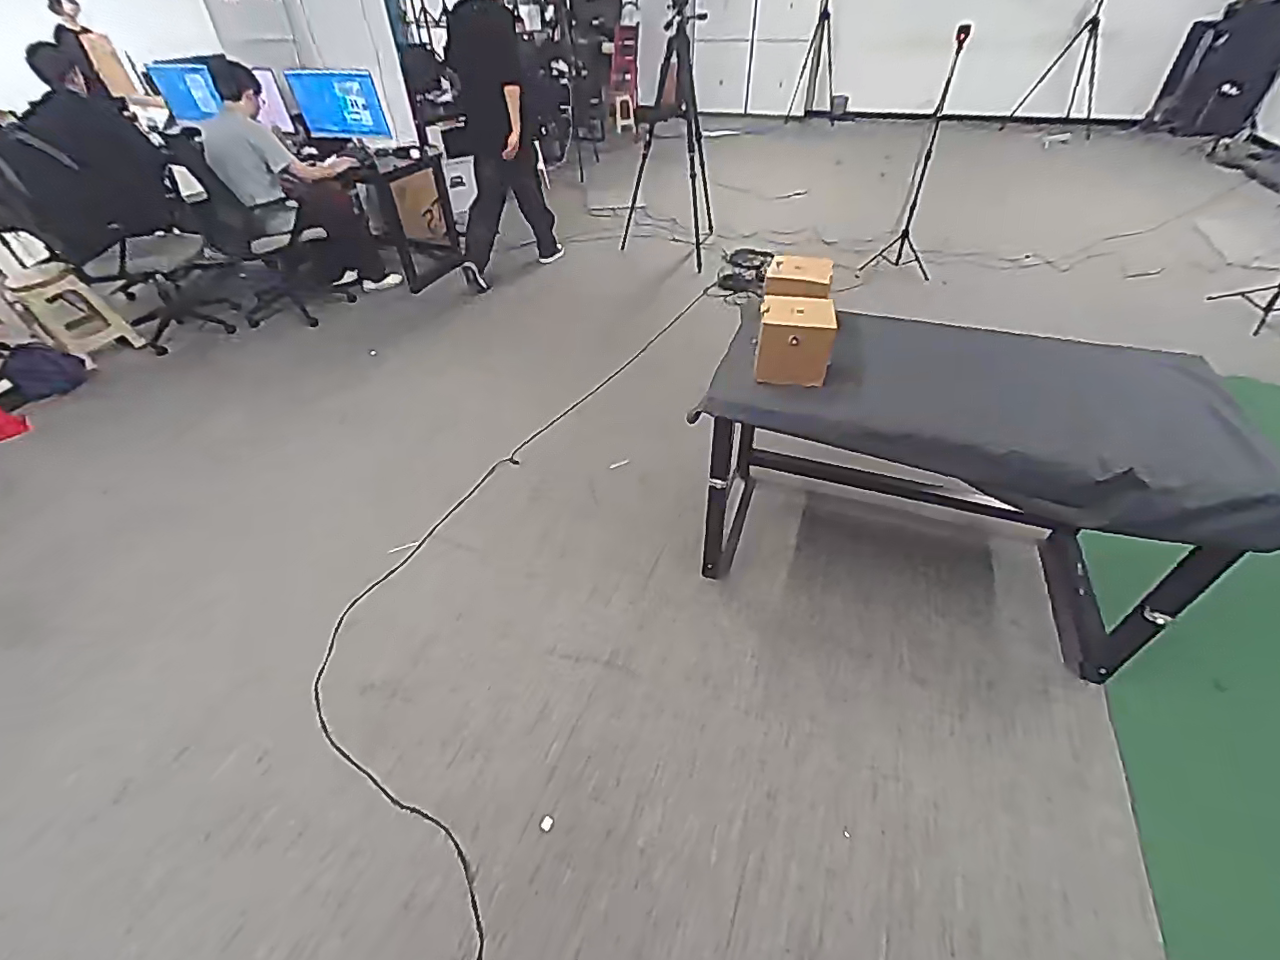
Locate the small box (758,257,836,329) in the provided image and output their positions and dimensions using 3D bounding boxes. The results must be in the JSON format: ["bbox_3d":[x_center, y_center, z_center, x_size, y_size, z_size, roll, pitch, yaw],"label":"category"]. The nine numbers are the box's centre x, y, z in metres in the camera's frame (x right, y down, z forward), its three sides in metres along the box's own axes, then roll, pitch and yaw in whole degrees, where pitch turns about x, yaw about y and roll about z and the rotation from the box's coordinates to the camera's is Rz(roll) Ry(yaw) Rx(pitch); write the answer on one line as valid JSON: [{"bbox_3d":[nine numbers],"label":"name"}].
[{"bbox_3d":[0.461,-0.535,1.595,0.179,0.176,0.168,14,45,15],"label":"small box"}]

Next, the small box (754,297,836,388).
[{"bbox_3d":[0.394,-0.354,1.396,0.179,0.176,0.168,8,43,8],"label":"small box"}]
